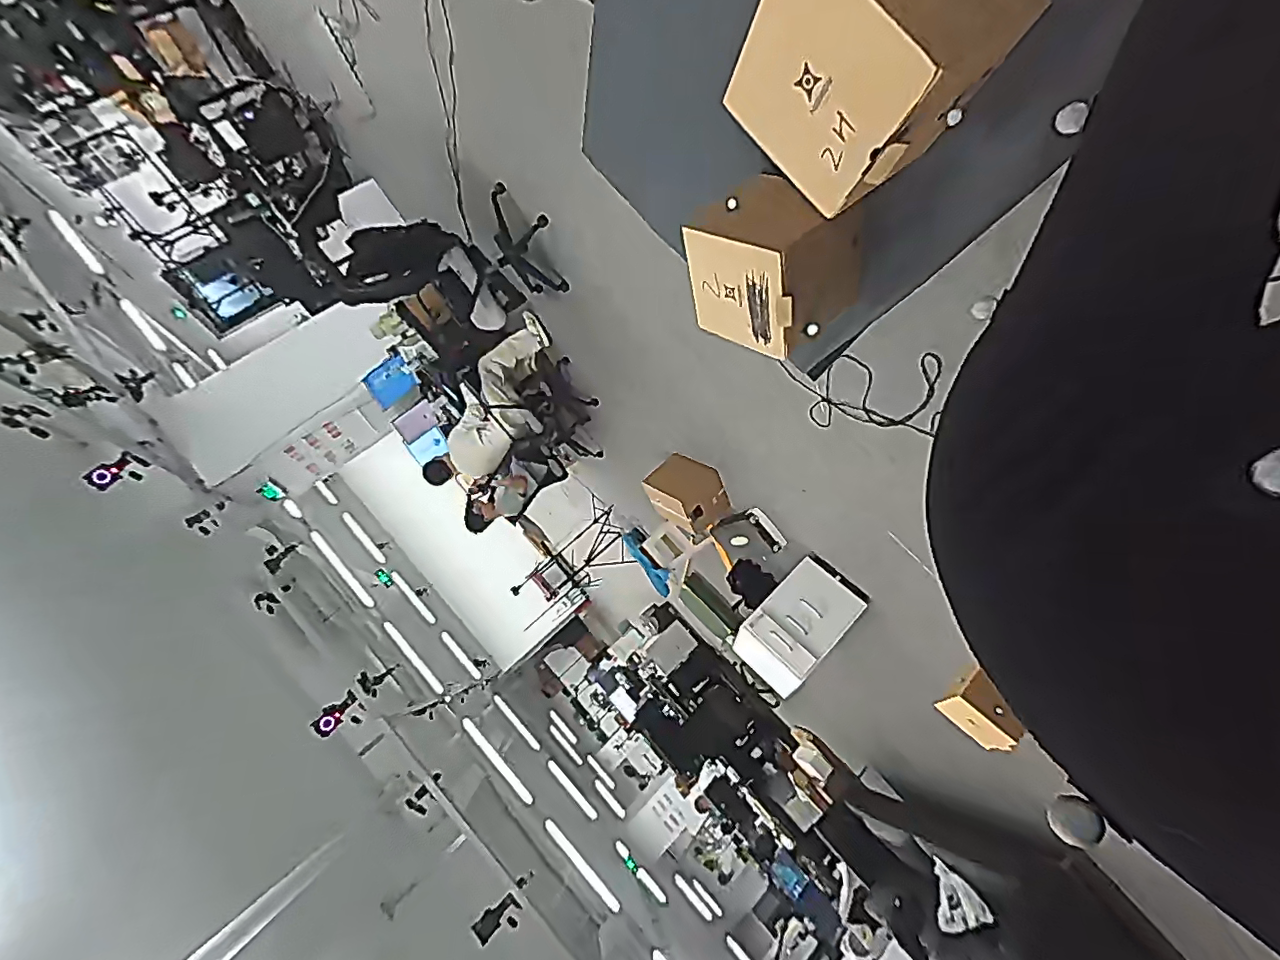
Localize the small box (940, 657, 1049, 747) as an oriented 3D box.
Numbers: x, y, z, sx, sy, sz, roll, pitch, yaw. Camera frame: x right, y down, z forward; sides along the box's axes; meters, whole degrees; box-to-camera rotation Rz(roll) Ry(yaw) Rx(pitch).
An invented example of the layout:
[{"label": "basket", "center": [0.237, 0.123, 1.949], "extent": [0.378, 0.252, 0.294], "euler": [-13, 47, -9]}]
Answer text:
[{"label": "small box", "center": [1.030, 0.640, 1.575], "extent": [0.179, 0.176, 0.168], "euler": [41, 158, 23]}]

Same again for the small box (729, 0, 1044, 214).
[{"label": "small box", "center": [0.224, -0.409, 0.520], "extent": [0.179, 0.176, 0.168], "euler": [49, 163, 4]}]
